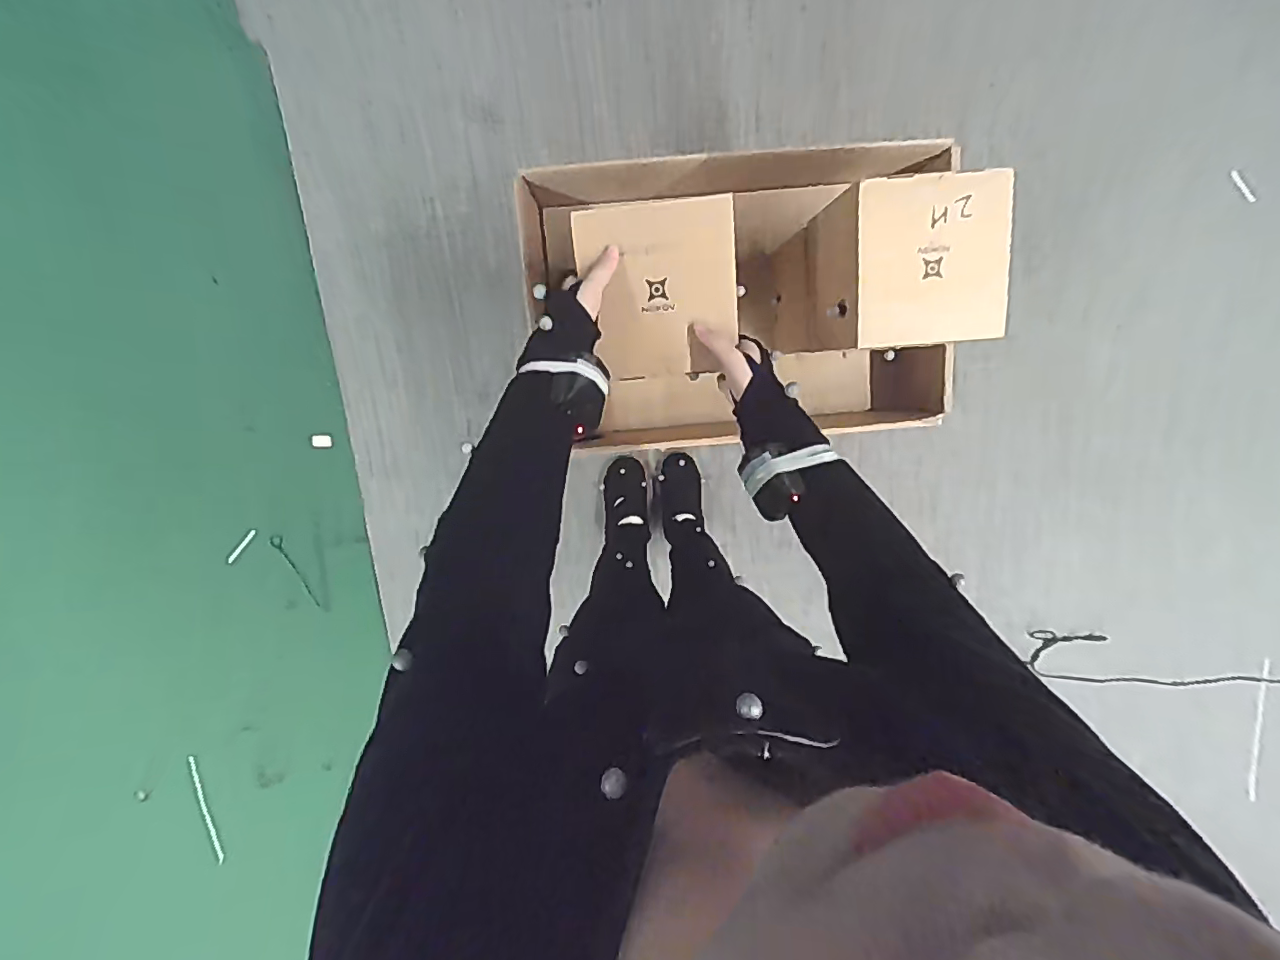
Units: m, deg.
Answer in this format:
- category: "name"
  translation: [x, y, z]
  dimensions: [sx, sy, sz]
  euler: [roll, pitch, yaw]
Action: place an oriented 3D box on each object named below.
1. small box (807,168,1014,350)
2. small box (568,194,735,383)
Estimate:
- category: "small box"
  translation: [0.310, -0.250, 0.655]
  dimensions: [0.168, 0.176, 0.179]
  euler: [-4, 101, 0]
- category: "small box"
  translation: [0.020, -0.219, 0.636]
  dimensions: [0.168, 0.176, 0.179]
  euler: [-4, 107, 4]
